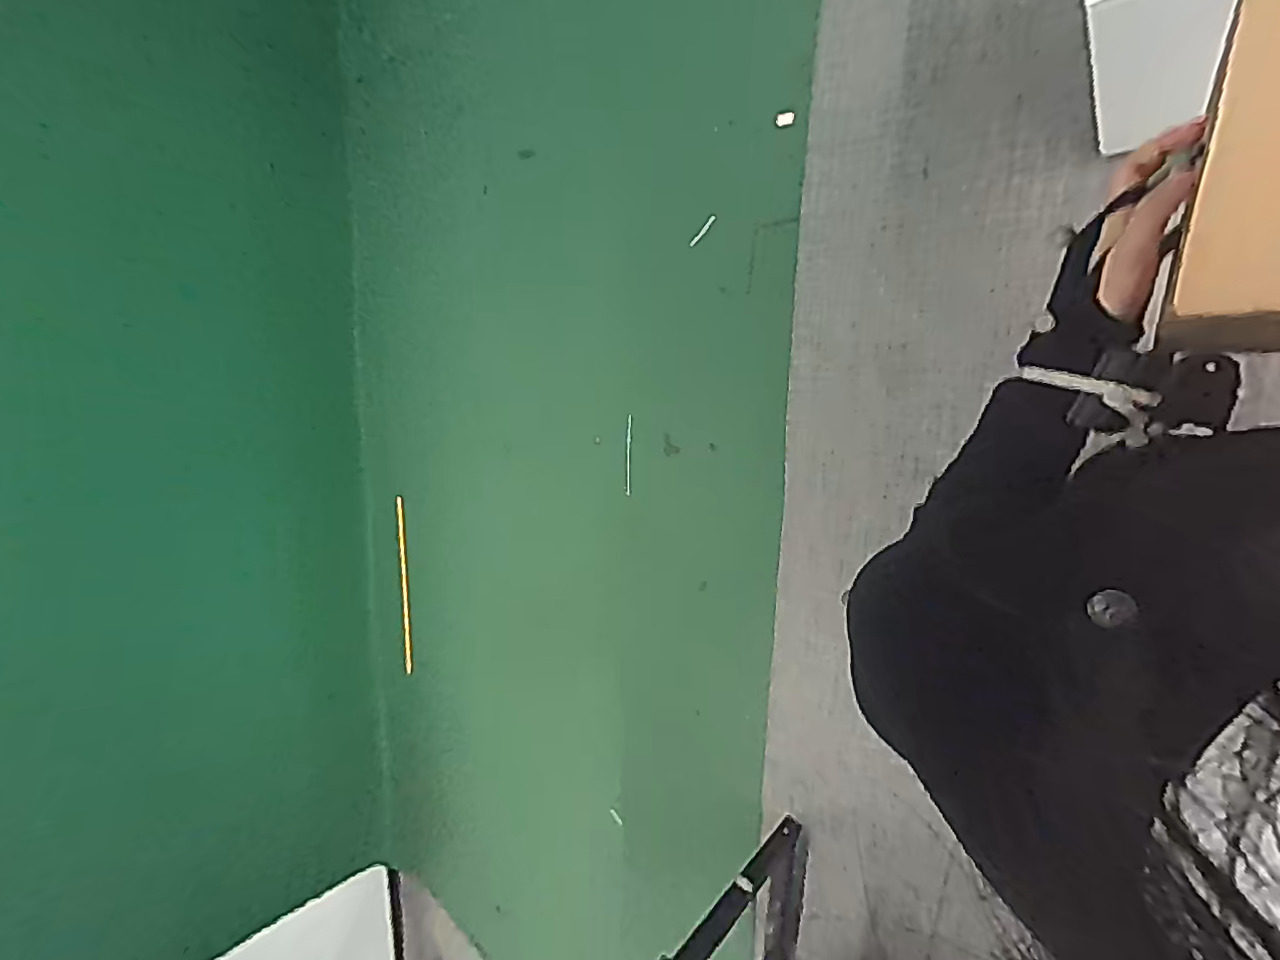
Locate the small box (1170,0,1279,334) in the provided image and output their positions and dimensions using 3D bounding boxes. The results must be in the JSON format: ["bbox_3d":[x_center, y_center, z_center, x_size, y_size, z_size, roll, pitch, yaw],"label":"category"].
[{"bbox_3d":[0.405,-0.178,0.278,0.168,0.176,0.179,14,101,41],"label":"small box"}]
